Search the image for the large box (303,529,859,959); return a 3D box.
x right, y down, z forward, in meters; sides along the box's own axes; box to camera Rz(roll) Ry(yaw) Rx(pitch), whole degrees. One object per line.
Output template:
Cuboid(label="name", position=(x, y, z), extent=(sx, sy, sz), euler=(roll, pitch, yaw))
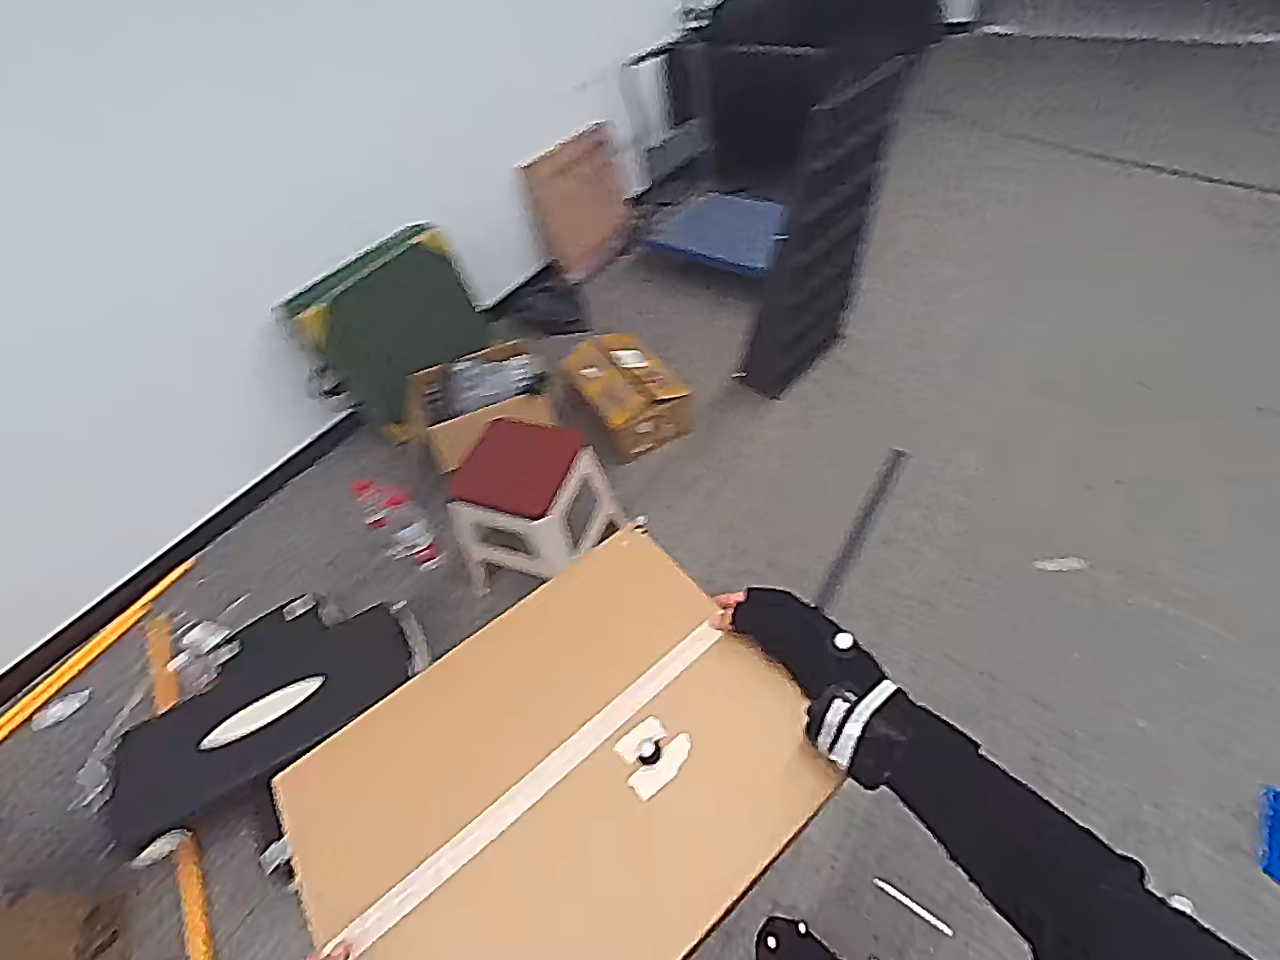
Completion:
Cuboid(label="large box", position=(-0.043, 0.339, 0.579), extent=(0.408, 0.320, 0.320), euler=(-34, 54, -19))
